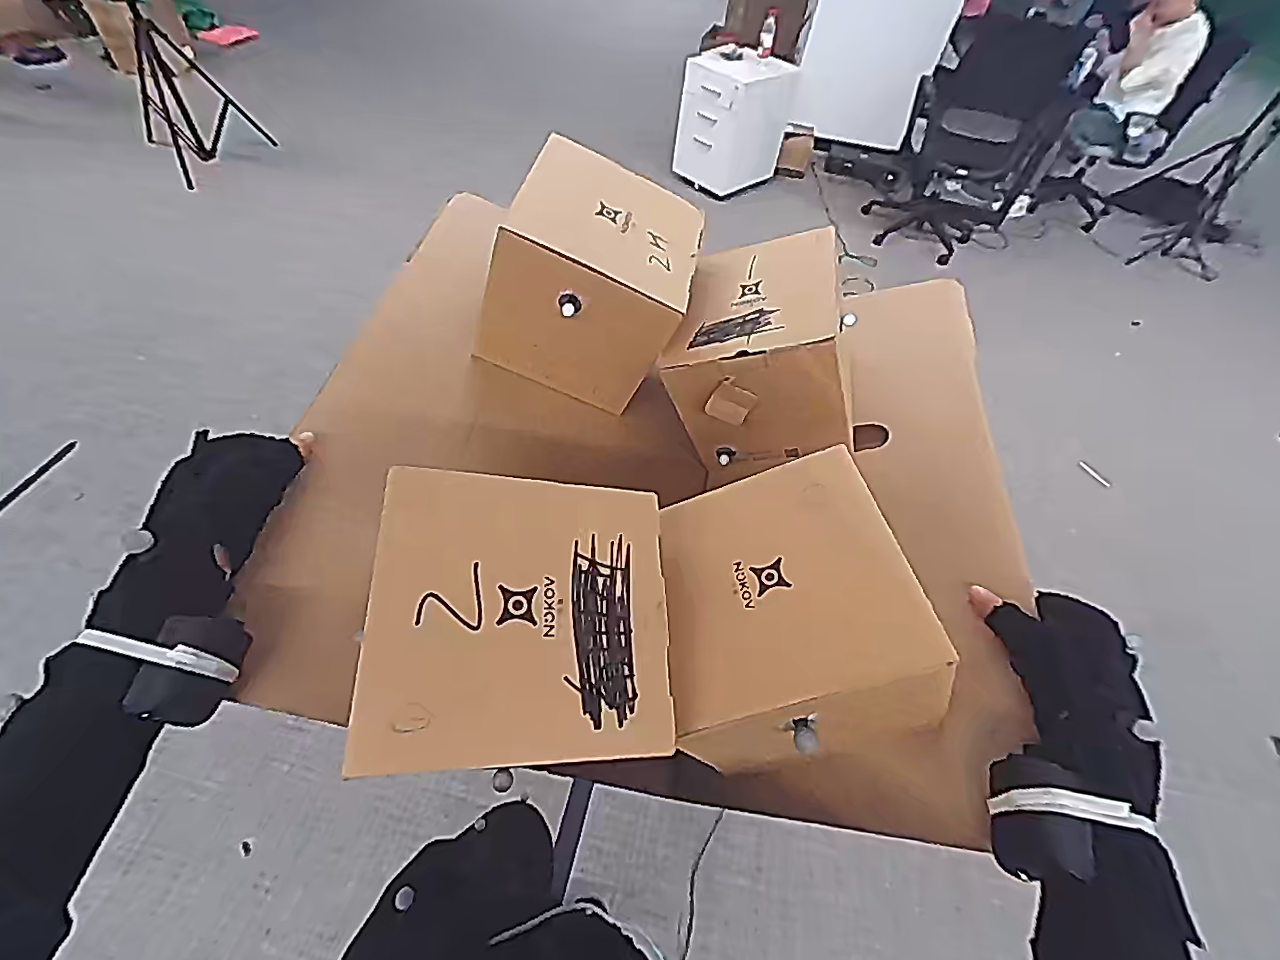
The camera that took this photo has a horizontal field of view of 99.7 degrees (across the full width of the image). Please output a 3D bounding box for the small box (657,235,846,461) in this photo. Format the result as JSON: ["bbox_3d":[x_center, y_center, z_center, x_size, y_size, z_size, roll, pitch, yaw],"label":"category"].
[{"bbox_3d":[0.136,-0.134,0.607,0.168,0.176,0.179,-4,52,24],"label":"small box"}]
